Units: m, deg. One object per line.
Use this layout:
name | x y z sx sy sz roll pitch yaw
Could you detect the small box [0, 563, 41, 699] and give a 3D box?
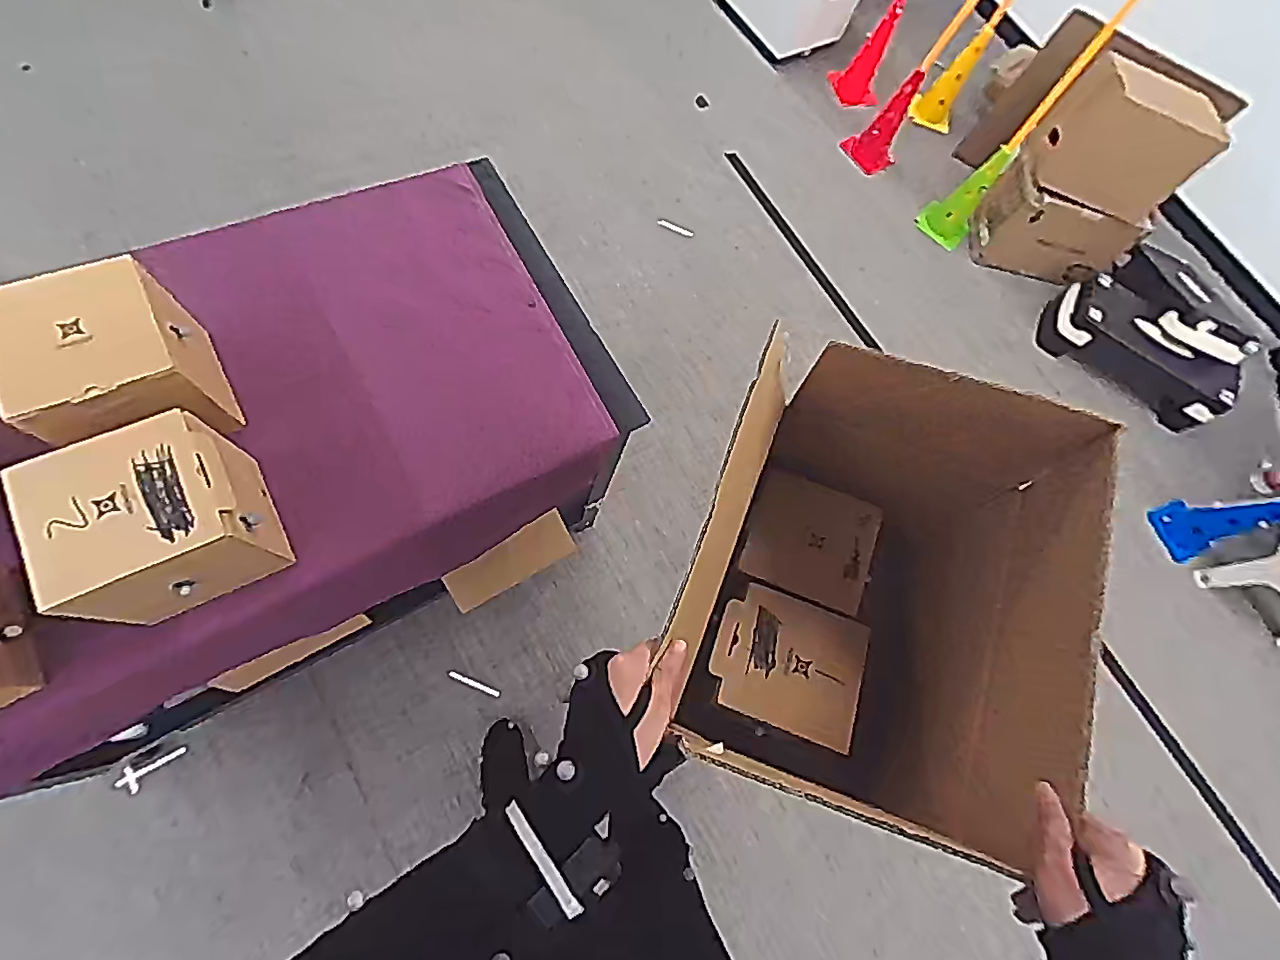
small box | -0.795 0.177 0.547 0.179 0.176 0.168 -27 79 -20
